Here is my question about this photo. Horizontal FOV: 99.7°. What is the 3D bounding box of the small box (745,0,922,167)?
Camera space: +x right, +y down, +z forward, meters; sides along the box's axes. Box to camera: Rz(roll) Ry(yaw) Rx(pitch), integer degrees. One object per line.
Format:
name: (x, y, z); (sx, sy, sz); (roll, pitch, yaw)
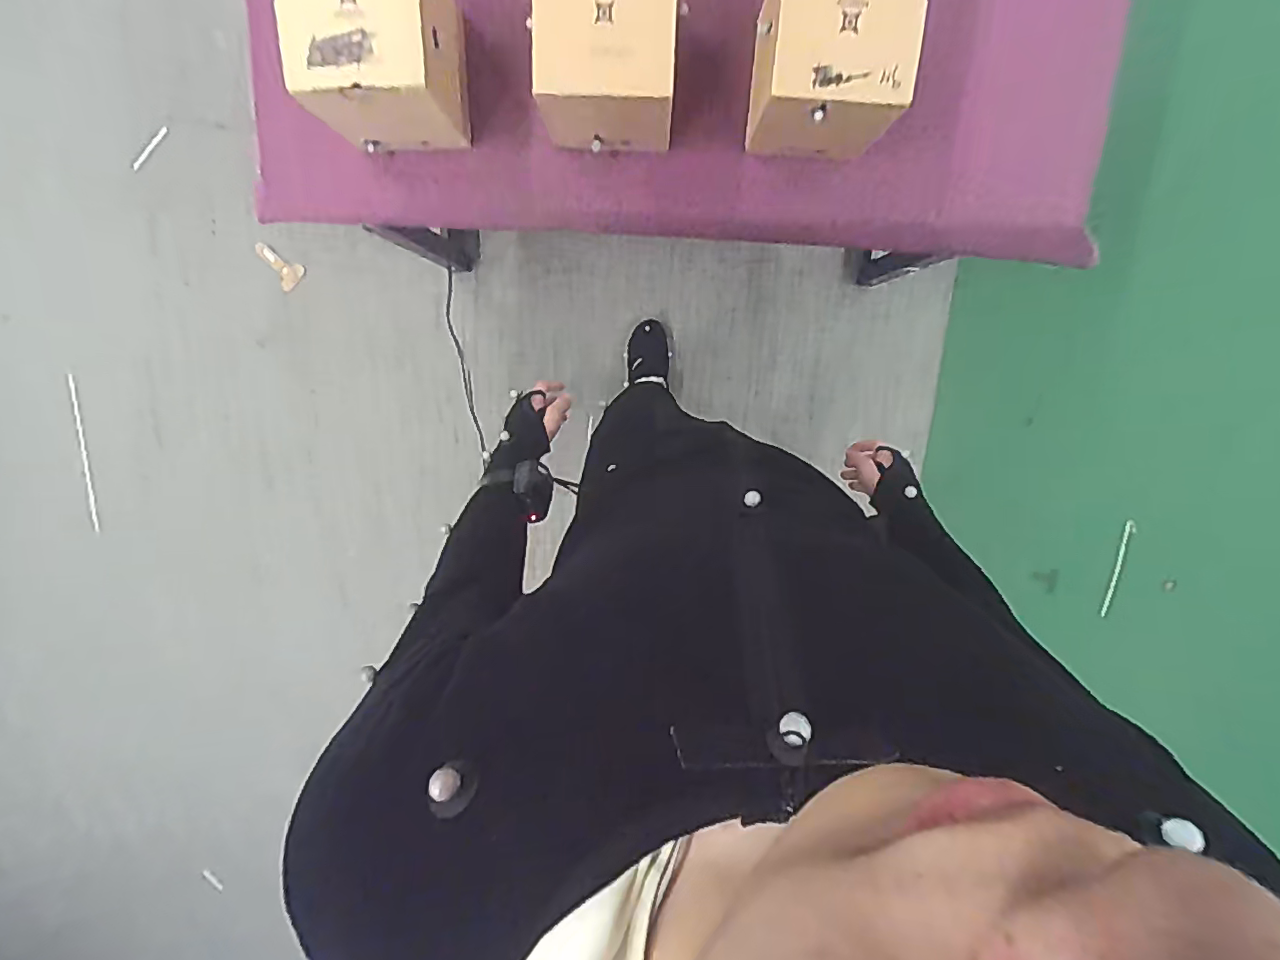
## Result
small box: (0.234, -0.531, 0.690); (0.168, 0.176, 0.179); (4, 101, 1)

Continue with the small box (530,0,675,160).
small box: (-0.042, -0.542, 0.696); (0.168, 0.176, 0.179); (3, 102, 2)

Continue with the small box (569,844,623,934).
small box: (-0.145, 1.384, 1.836); (0.168, 0.176, 0.179); (2, 101, 1)

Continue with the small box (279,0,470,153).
small box: (-0.329, -0.545, 0.700); (0.168, 0.176, 0.179); (-1, 100, 1)
